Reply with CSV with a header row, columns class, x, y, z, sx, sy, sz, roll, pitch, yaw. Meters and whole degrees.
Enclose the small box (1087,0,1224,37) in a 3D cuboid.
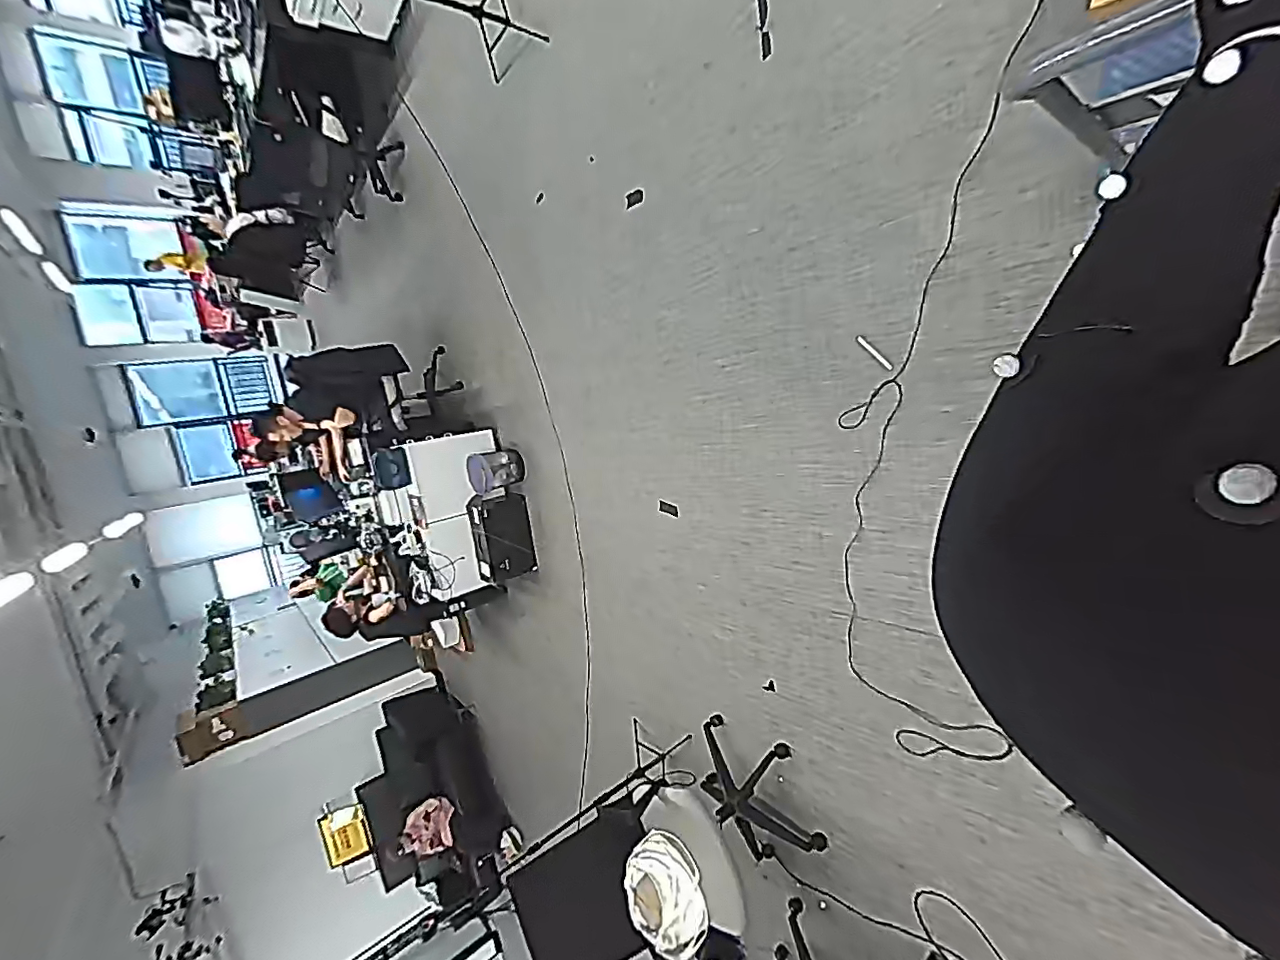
class,x,y,z,sx,sy,sz,roll,pitch,yaw
small box,0.795,-0.802,0.794,0.179,0.176,0.168,11,110,47
